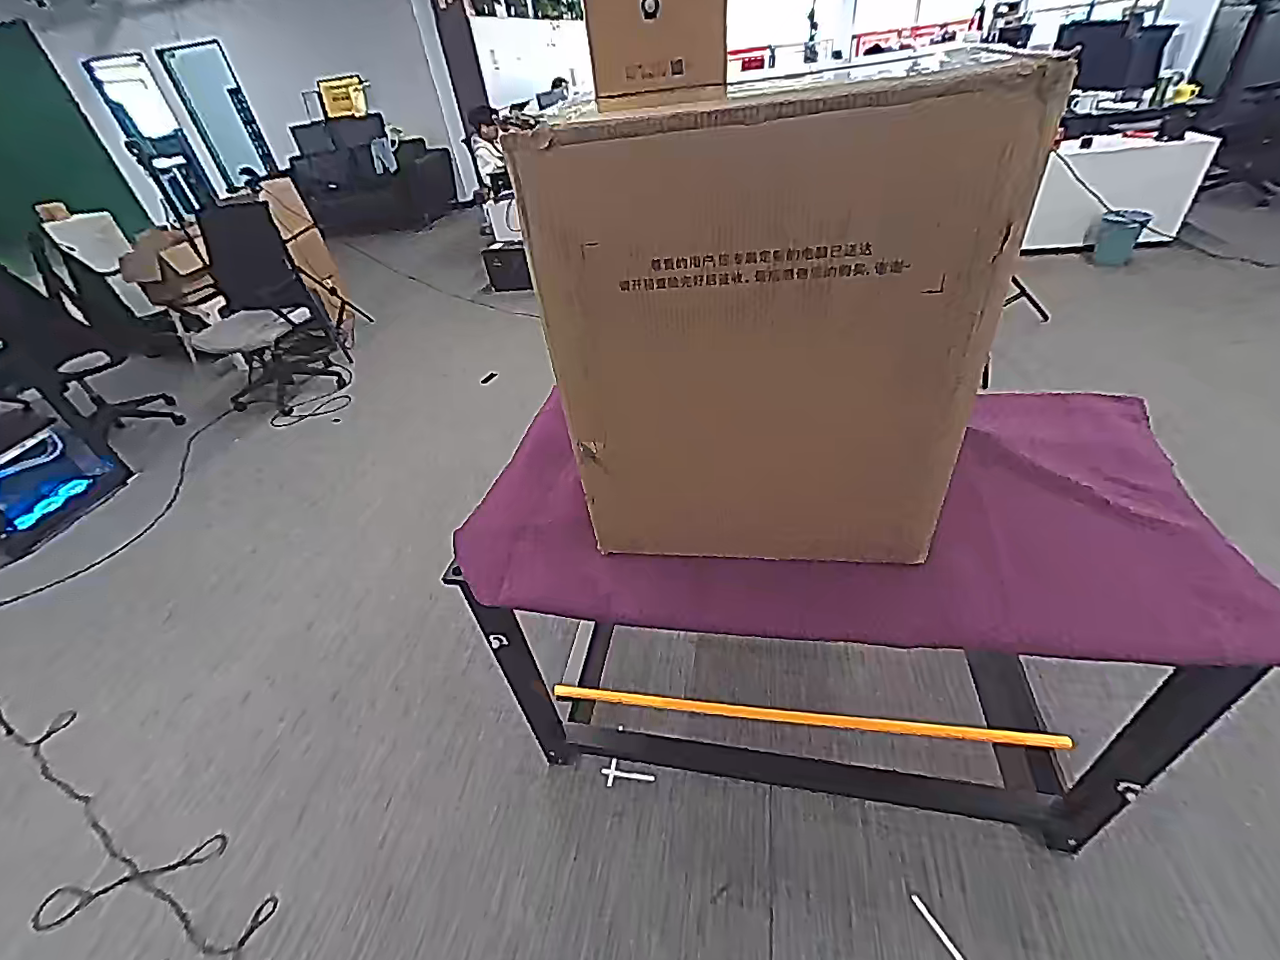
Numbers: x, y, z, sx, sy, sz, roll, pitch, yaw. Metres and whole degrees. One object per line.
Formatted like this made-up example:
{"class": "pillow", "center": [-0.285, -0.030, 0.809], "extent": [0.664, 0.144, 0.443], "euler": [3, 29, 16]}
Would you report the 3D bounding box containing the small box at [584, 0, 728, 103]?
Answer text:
{"class": "small box", "center": [0.024, -0.588, 0.682], "extent": [0.168, 0.176, 0.179], "euler": [-2, 39, 5]}
